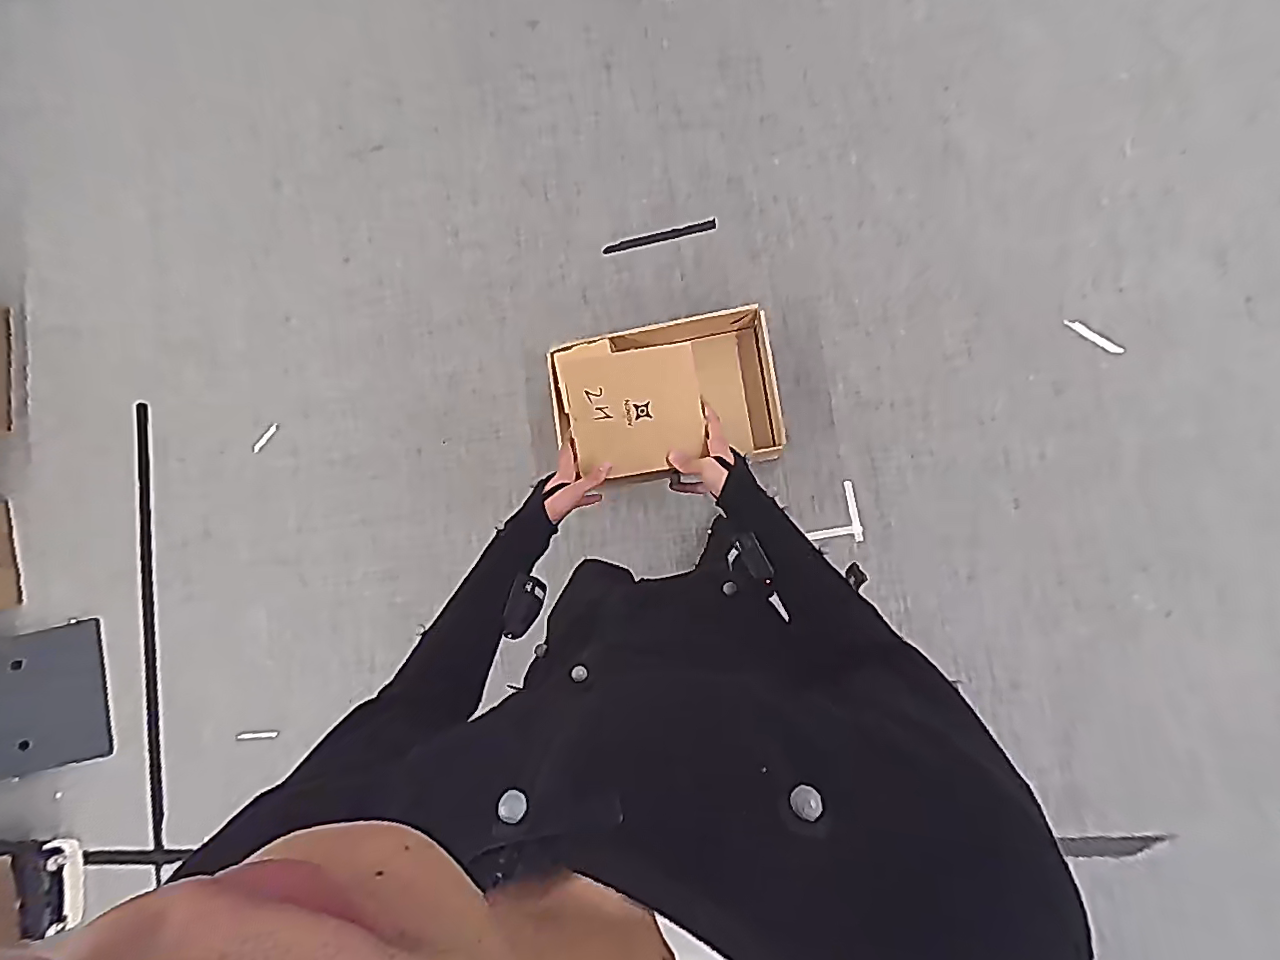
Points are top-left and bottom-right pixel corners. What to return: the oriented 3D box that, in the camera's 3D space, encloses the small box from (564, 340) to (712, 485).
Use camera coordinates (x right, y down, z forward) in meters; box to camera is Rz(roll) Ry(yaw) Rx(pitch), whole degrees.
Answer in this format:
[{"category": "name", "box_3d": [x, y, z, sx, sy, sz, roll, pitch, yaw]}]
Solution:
[{"category": "small box", "box_3d": [-0.005, -0.088, 0.779, 0.179, 0.176, 0.168, -8, 86, -1]}]
